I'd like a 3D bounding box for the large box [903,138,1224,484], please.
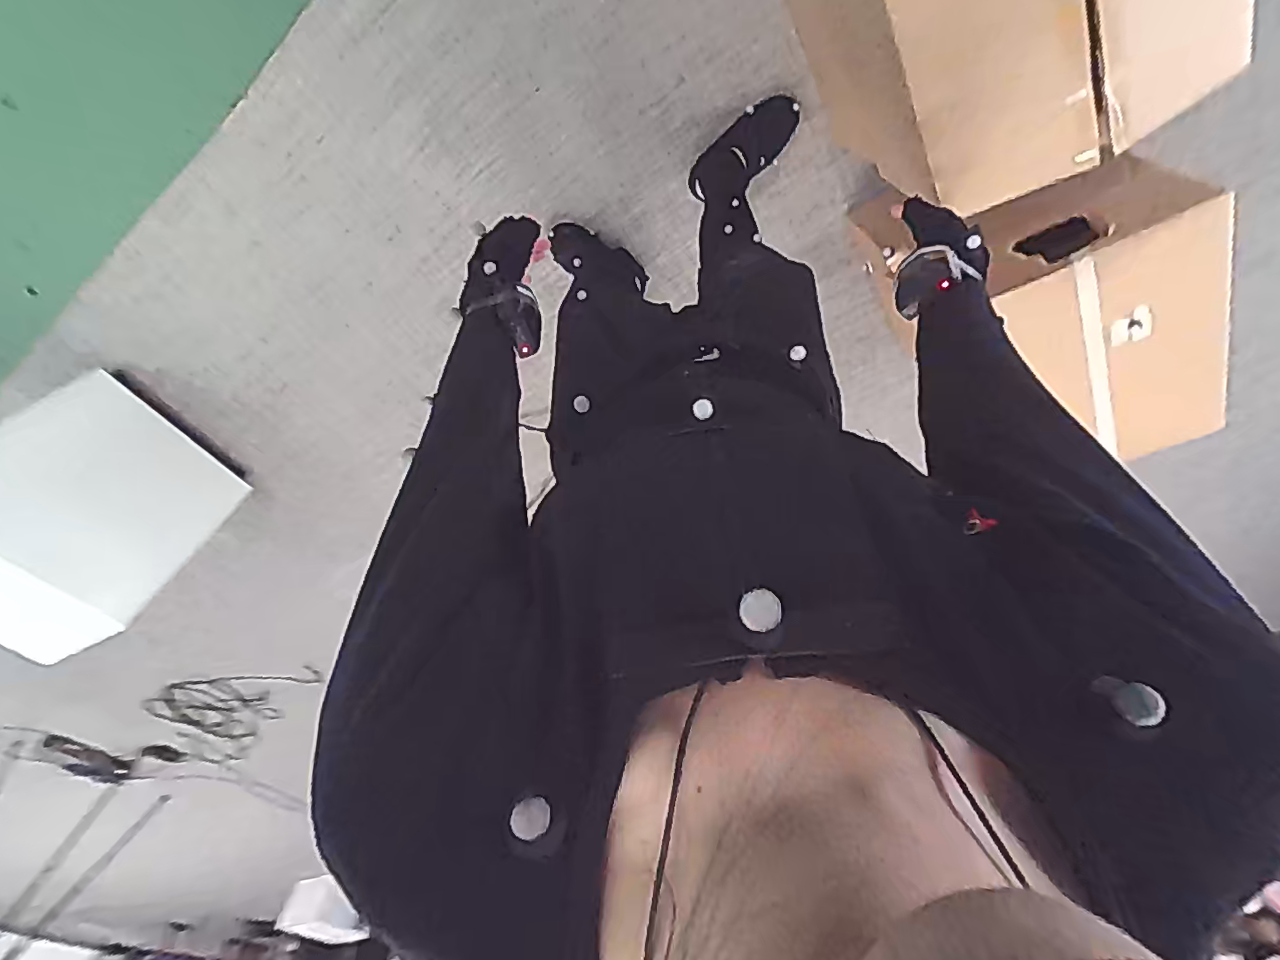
[{"bbox_3d":[0.691,-0.270,0.917,0.320,0.320,0.408,-22,124,25],"label":"large box"}]
